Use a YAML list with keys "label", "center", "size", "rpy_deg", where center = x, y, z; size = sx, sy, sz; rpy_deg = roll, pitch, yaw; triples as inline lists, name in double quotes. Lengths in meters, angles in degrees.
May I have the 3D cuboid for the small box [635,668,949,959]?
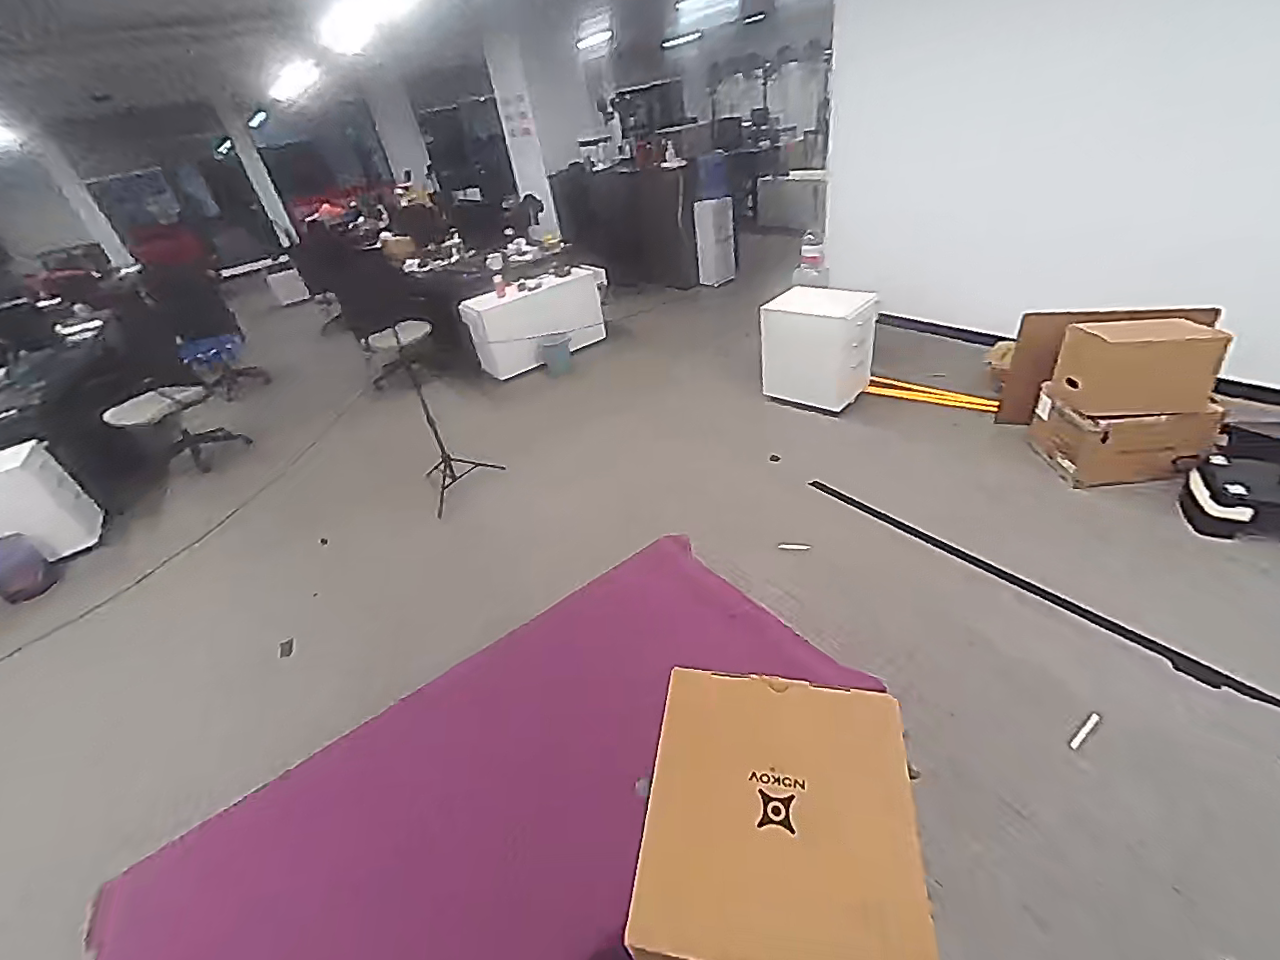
- label: "small box"
  center: [0.103, 0.267, 0.390]
  size: [0.168, 0.176, 0.179]
  rpy_deg: [2, 39, 14]
